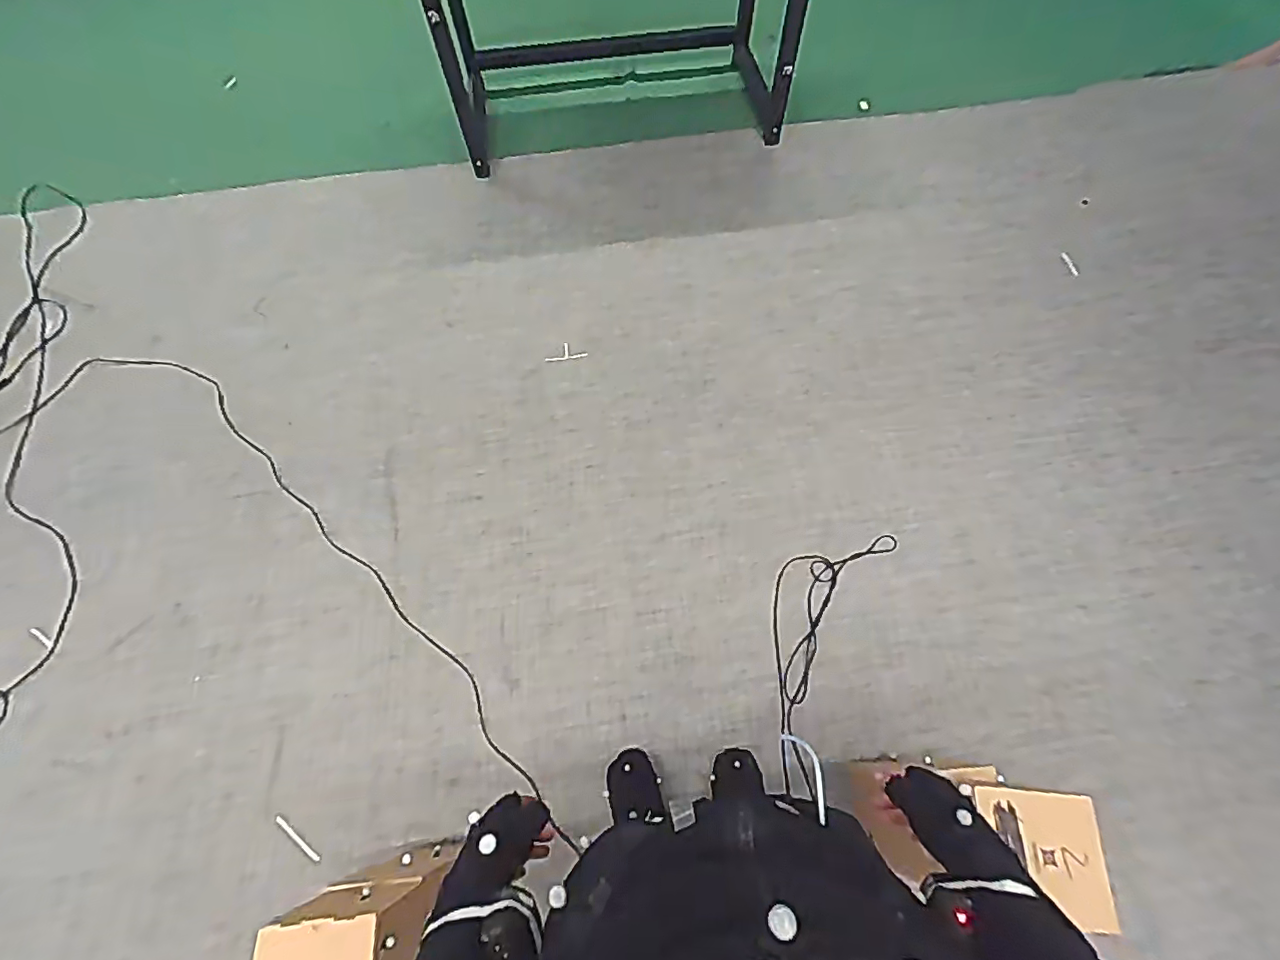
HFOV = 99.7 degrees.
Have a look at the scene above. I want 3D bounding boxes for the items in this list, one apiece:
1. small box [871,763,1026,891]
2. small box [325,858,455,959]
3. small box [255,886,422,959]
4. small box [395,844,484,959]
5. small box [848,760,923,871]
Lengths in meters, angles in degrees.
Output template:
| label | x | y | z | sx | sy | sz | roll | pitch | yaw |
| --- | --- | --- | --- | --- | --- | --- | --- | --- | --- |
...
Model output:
| label | x | y | z | sx | sy | sz | roll | pitch | yaw |
| --- | --- | --- | --- | --- | --- | --- | --- | --- | --- |
| small box | 0.550 | 0.624 | 0.995 | 0.168 | 0.176 | 0.179 | -4 | 66 | -2 |
| small box | -0.429 | 0.781 | 0.932 | 0.168 | 0.176 | 0.179 | -5 | 65 | -1 |
| small box | -0.431 | 0.721 | 0.780 | 0.168 | 0.176 | 0.179 | -6 | 65 | -1 |
| small box | -0.419 | 0.848 | 1.082 | 0.179 | 0.176 | 0.168 | -6 | 65 | -2 |
| small box | 0.554 | 0.690 | 1.127 | 0.168 | 0.176 | 0.179 | -2 | 66 | -1 |
